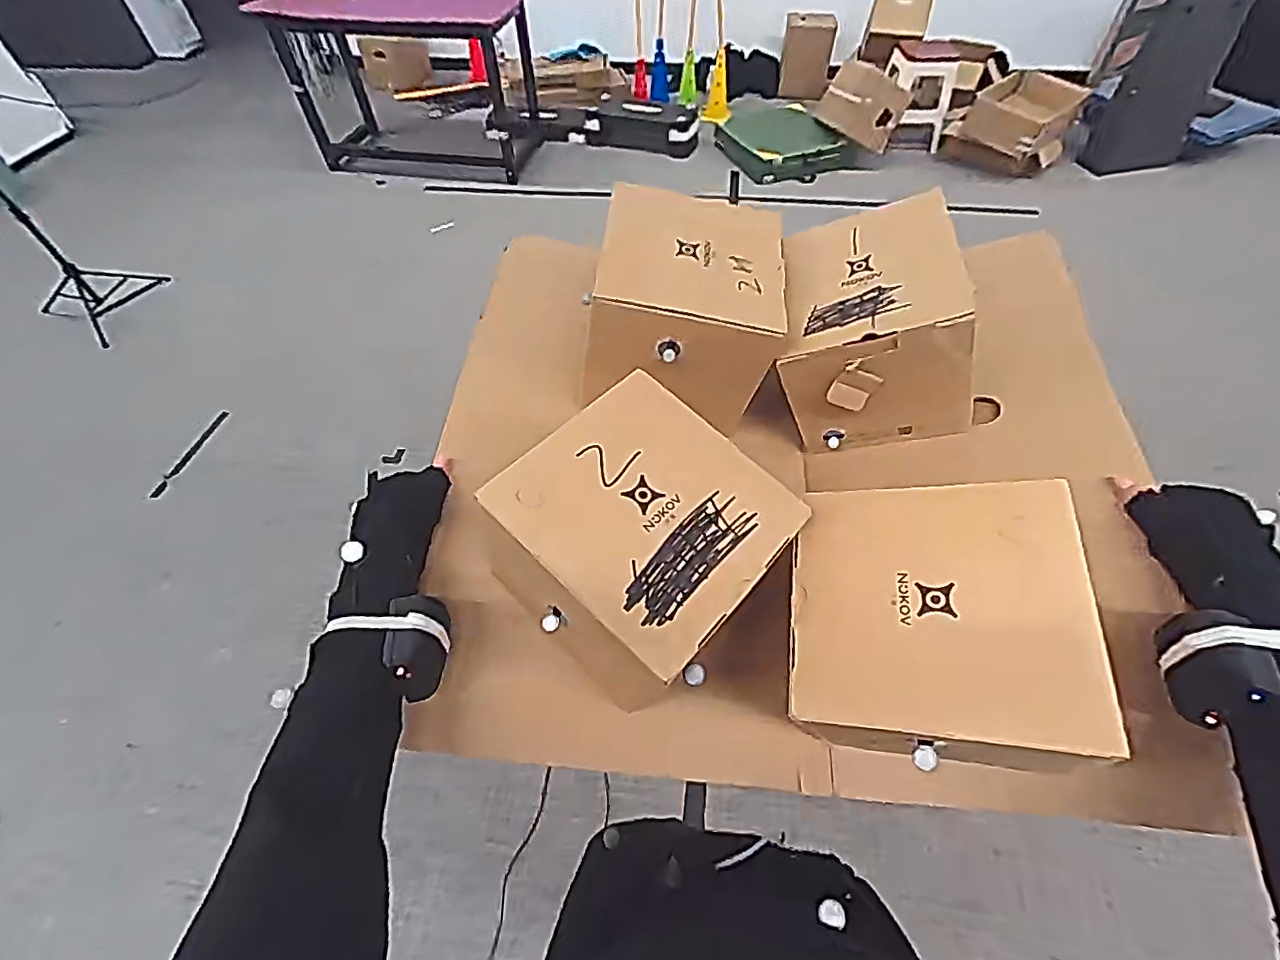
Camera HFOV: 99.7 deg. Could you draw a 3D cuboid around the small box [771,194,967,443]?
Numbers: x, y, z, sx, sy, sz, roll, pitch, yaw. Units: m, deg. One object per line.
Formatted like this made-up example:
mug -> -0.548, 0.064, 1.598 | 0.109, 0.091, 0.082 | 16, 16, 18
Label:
small box -> 0.241, -0.153, 0.575 | 0.168, 0.176, 0.179 | -8, 56, 25
